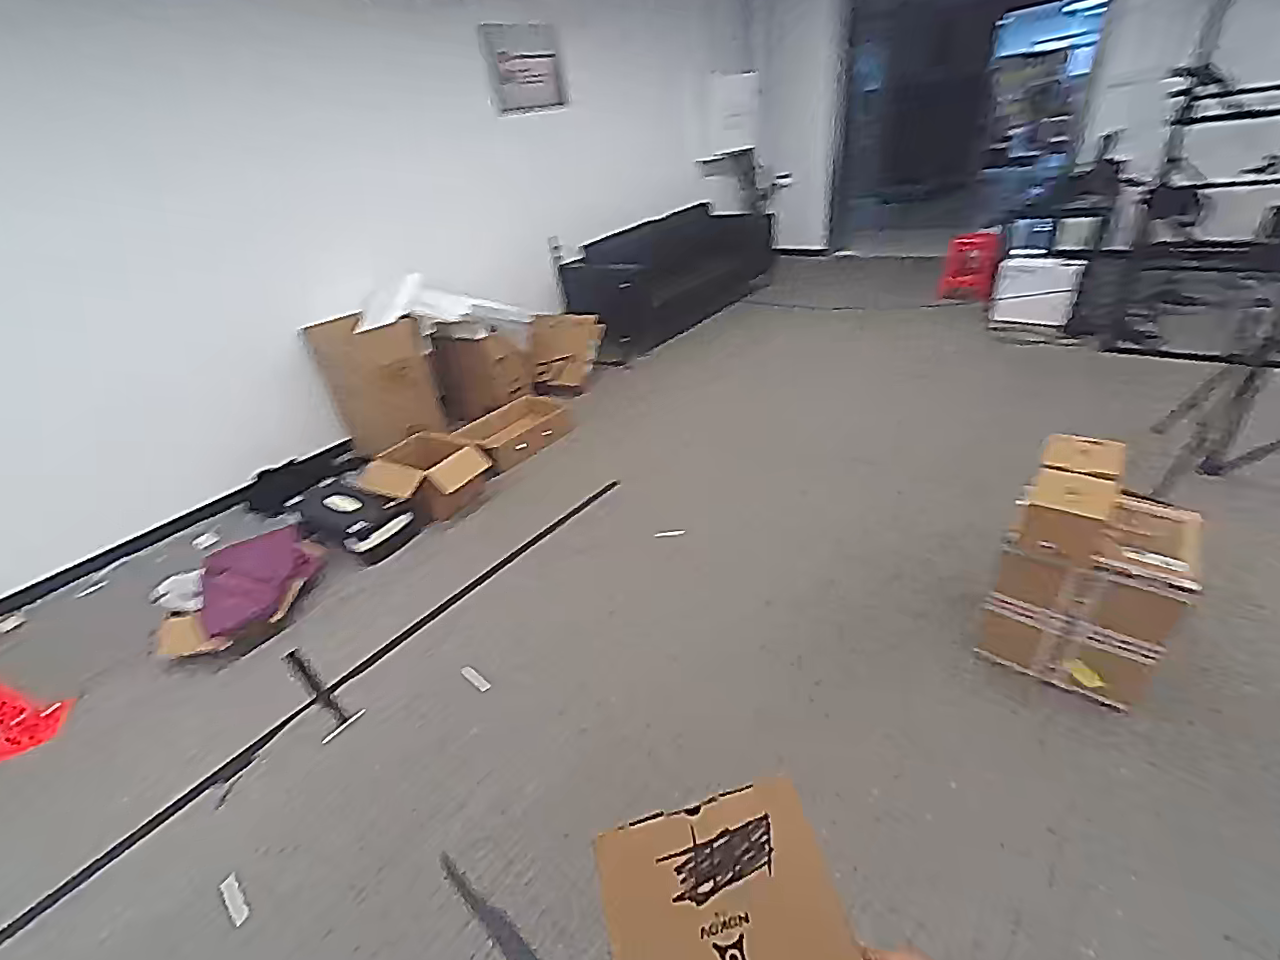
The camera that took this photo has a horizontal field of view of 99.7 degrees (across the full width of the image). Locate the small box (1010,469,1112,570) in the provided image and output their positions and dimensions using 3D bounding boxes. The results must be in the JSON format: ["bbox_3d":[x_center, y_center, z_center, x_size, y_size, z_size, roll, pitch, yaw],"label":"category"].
[{"bbox_3d":[1.087,0.100,1.405,0.168,0.176,0.179,18,44,38],"label":"small box"}]

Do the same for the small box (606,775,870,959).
[{"bbox_3d":[0.076,0.370,0.433,0.168,0.176,0.179,-14,49,-5],"label":"small box"}]
